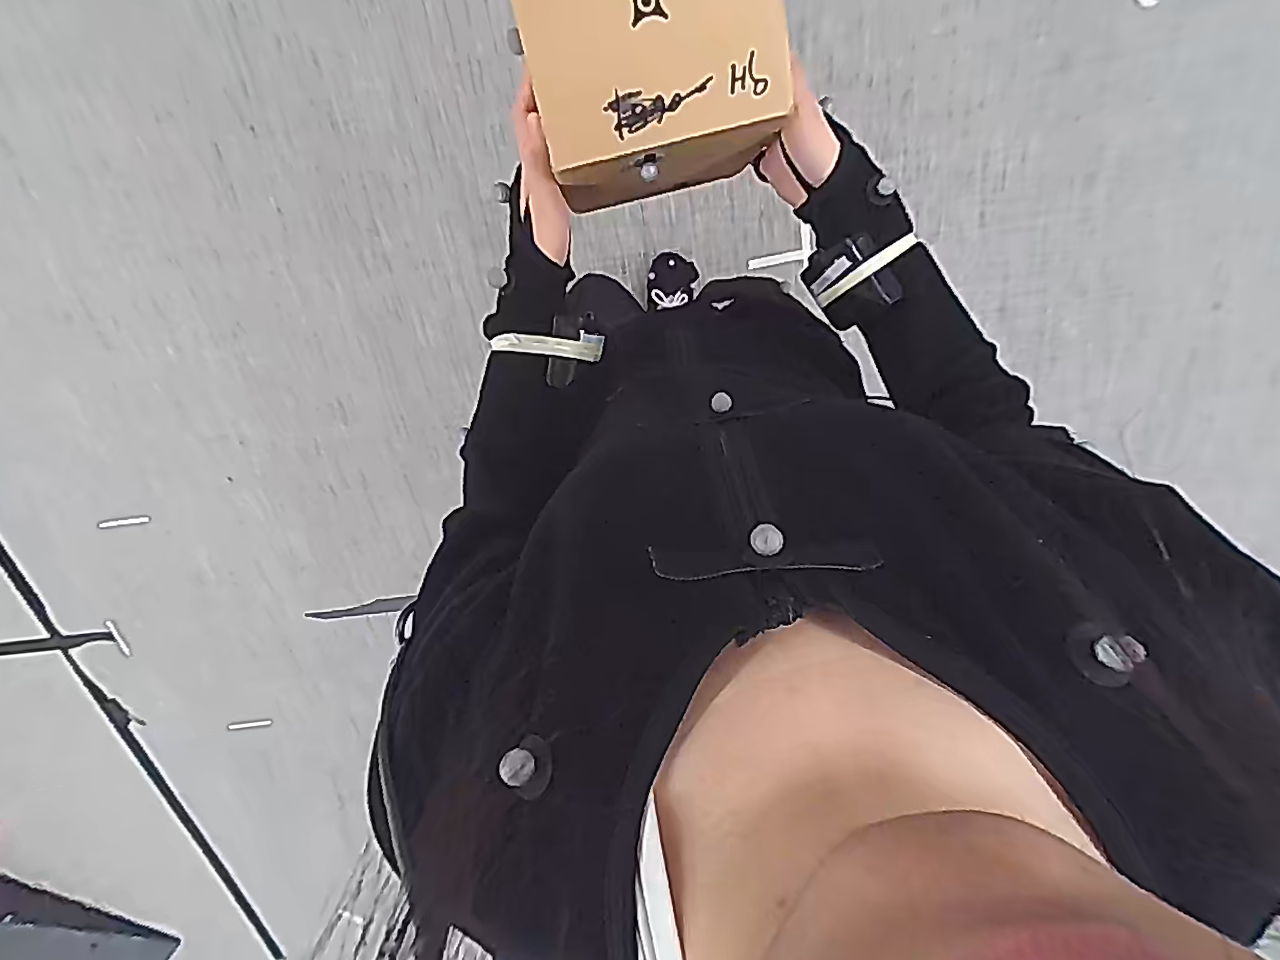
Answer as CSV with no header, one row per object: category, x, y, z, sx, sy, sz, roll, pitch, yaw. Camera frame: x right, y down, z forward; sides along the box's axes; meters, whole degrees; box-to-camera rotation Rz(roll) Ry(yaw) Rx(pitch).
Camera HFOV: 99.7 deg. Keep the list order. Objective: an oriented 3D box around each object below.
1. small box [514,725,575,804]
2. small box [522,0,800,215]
small box,-0.322,0.967,1.847,0.179,0.176,0.168,7,111,-5
small box,0.004,-0.323,0.407,0.168,0.176,0.179,-13,107,1
